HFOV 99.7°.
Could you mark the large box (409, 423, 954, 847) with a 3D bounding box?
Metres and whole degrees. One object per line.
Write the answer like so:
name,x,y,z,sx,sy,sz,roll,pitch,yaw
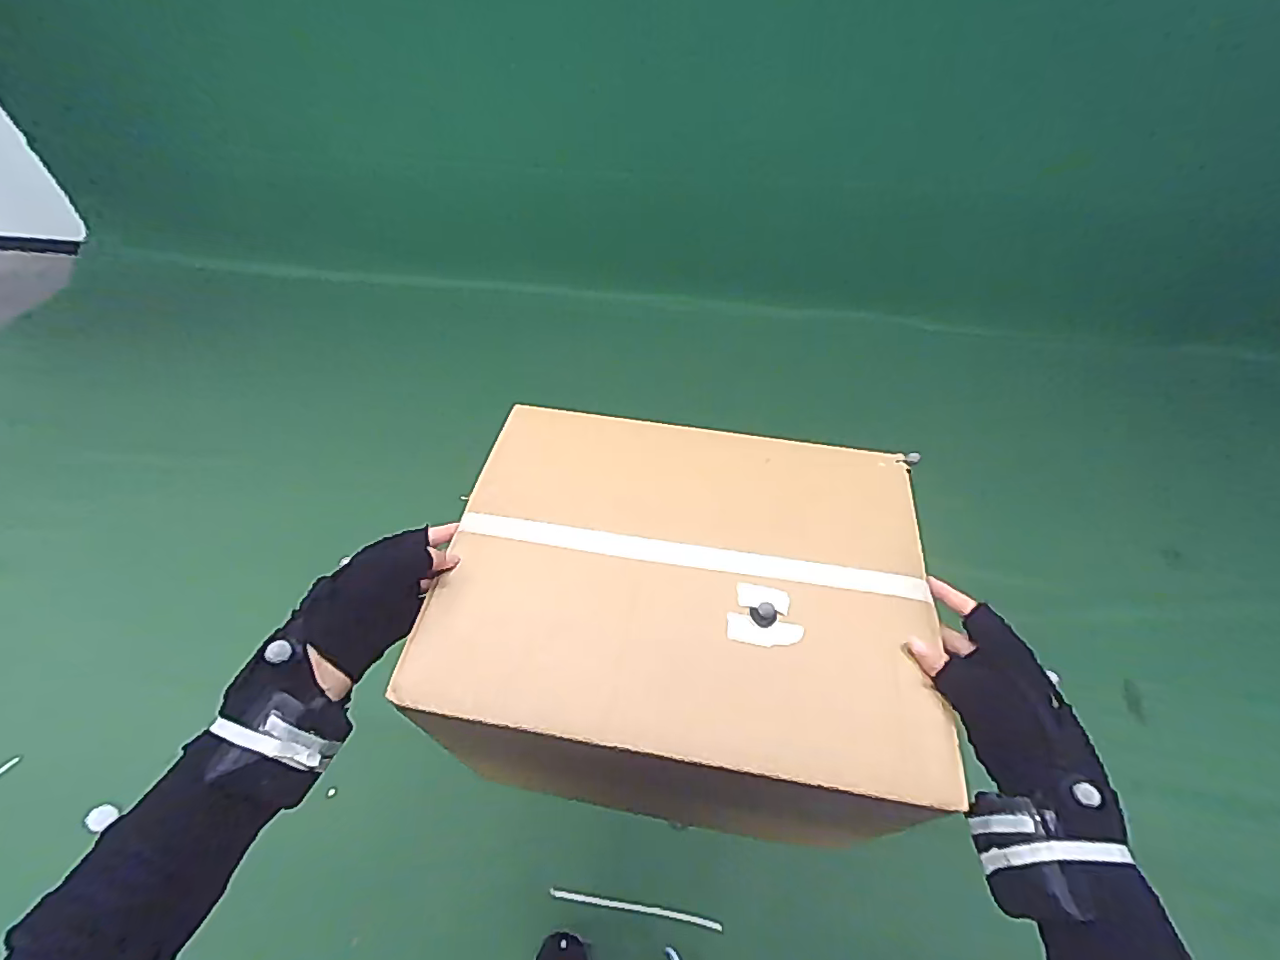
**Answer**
large box,0.041,0.170,0.593,0.408,0.320,0.320,8,52,6
